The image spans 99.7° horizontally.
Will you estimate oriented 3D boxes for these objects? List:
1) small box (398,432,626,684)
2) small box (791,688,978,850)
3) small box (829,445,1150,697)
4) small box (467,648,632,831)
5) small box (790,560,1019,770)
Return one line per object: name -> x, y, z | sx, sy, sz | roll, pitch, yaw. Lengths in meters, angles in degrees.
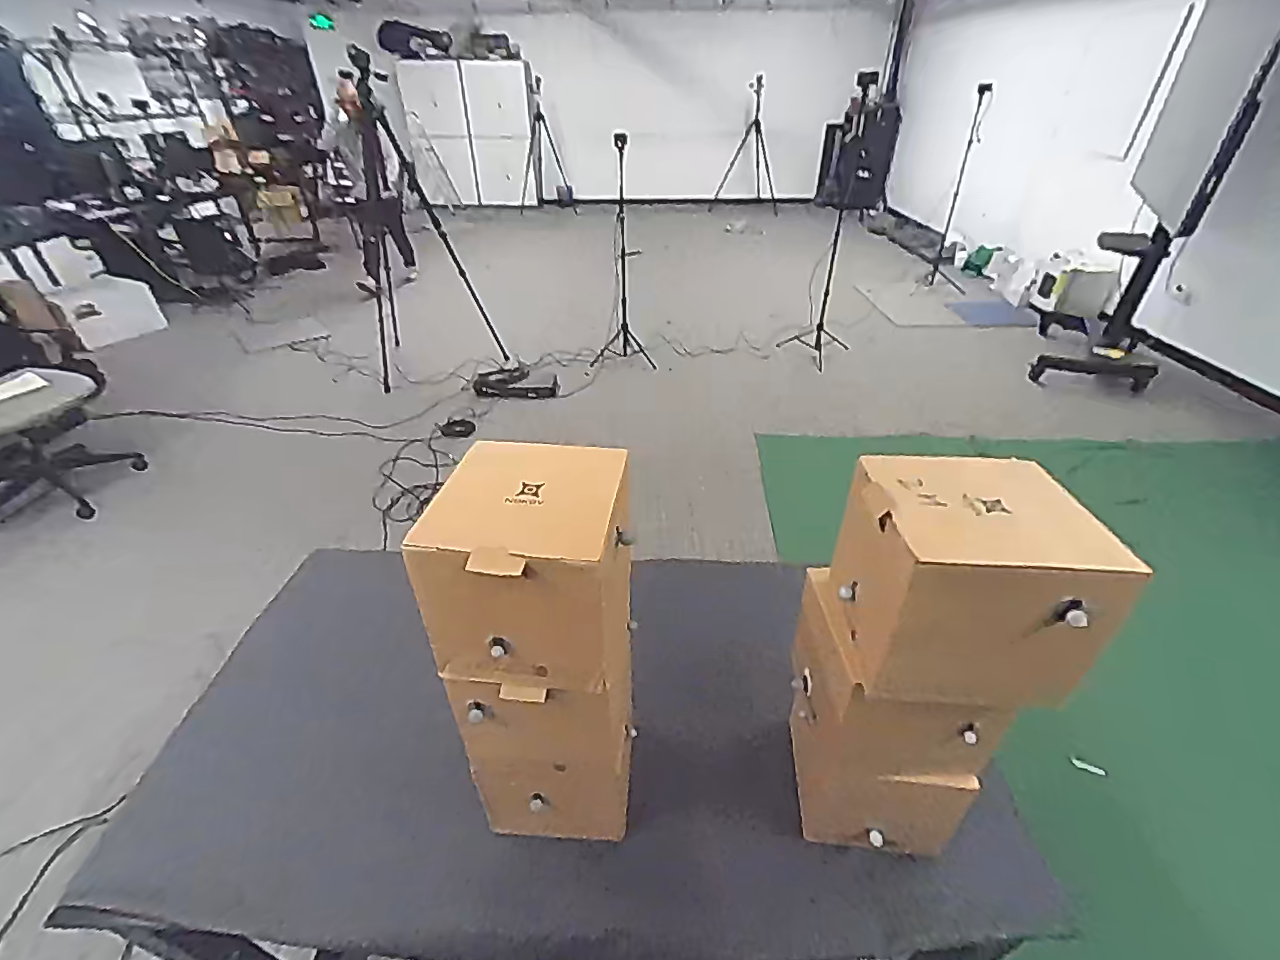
small box -> -0.107, 0.071, 0.537 | 0.168, 0.176, 0.179 | 4, 35, 5
small box -> 0.298, 0.343, 0.708 | 0.168, 0.176, 0.179 | 3, 34, 7
small box -> 0.295, 0.082, 0.509 | 0.179, 0.176, 0.168 | 1, 32, 4
small box -> -0.106, 0.342, 0.722 | 0.179, 0.176, 0.168 | 1, 35, 4
small box -> 0.285, 0.208, 0.618 | 0.179, 0.176, 0.168 | -2, 32, 1
